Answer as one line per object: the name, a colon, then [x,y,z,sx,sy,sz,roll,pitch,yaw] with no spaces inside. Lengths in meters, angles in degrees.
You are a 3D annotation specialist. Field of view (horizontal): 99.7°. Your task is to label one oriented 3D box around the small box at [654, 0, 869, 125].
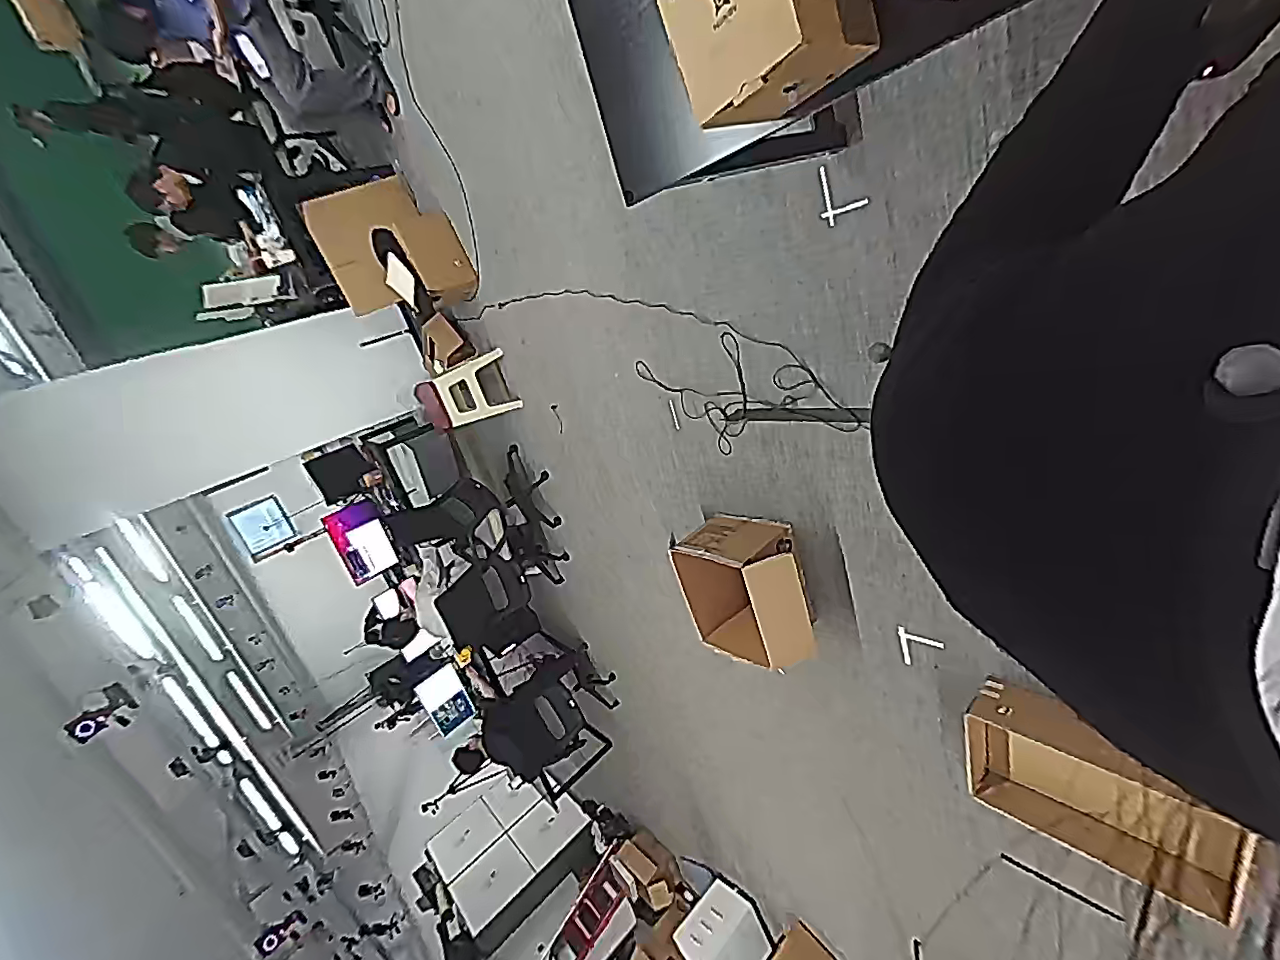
small box: [0.145,-0.564,0.644,0.168,0.176,0.179,-1,115,54]
